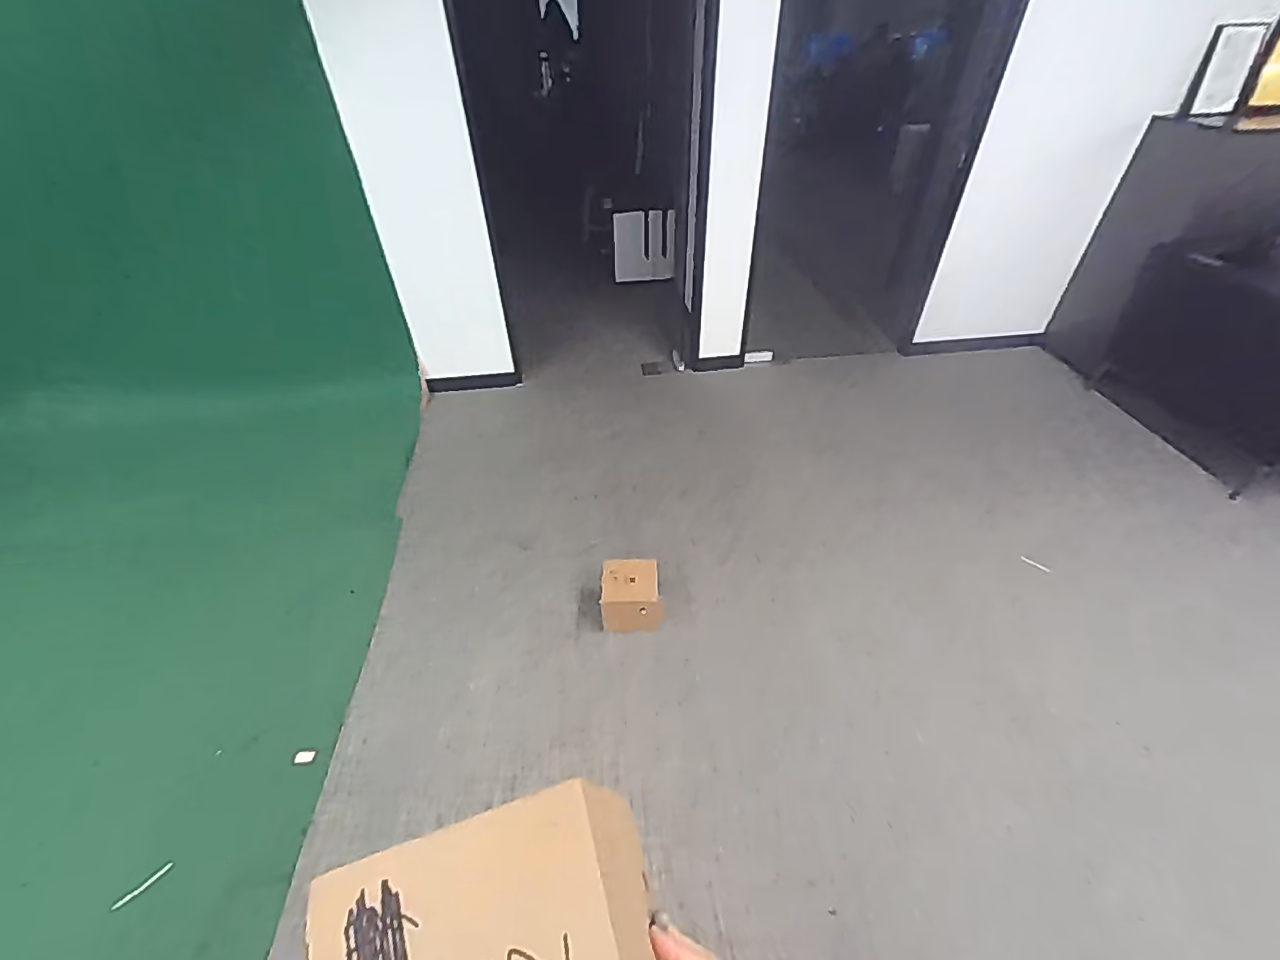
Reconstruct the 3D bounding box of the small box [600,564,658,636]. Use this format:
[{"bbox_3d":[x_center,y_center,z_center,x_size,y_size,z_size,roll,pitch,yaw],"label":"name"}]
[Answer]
[{"bbox_3d":[-0.034,0.386,1.732,0.179,0.176,0.168,-1,41,0],"label":"small box"}]
